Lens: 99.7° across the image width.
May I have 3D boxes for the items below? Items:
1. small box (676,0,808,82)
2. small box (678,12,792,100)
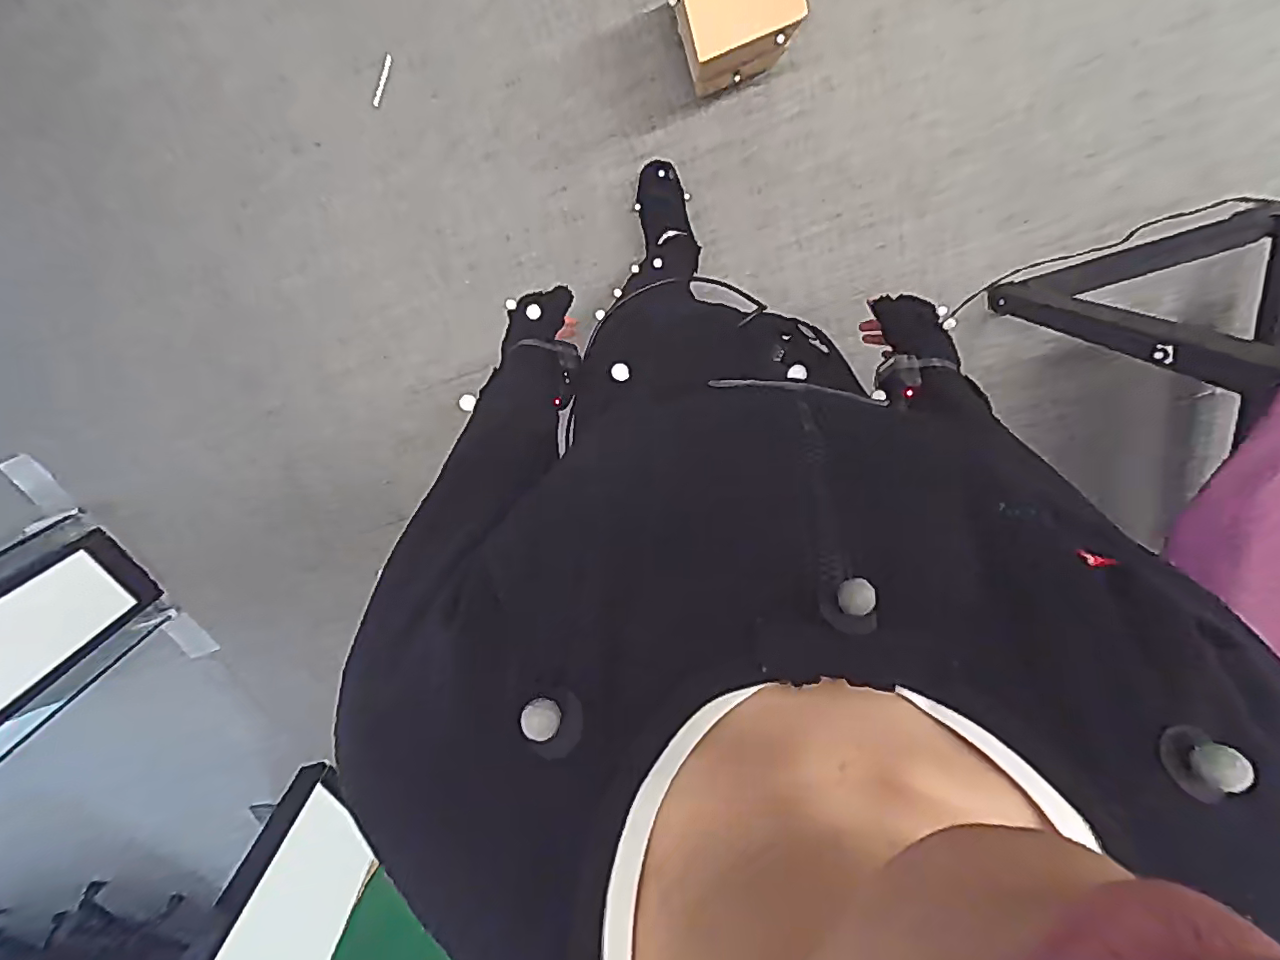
[{"bbox_3d":[0.154,-0.784,0.879,0.179,0.176,0.168,-17,115,11],"label":"small box"},{"bbox_3d":[0.172,-0.861,1.023,0.168,0.176,0.179,-17,115,11],"label":"small box"}]
